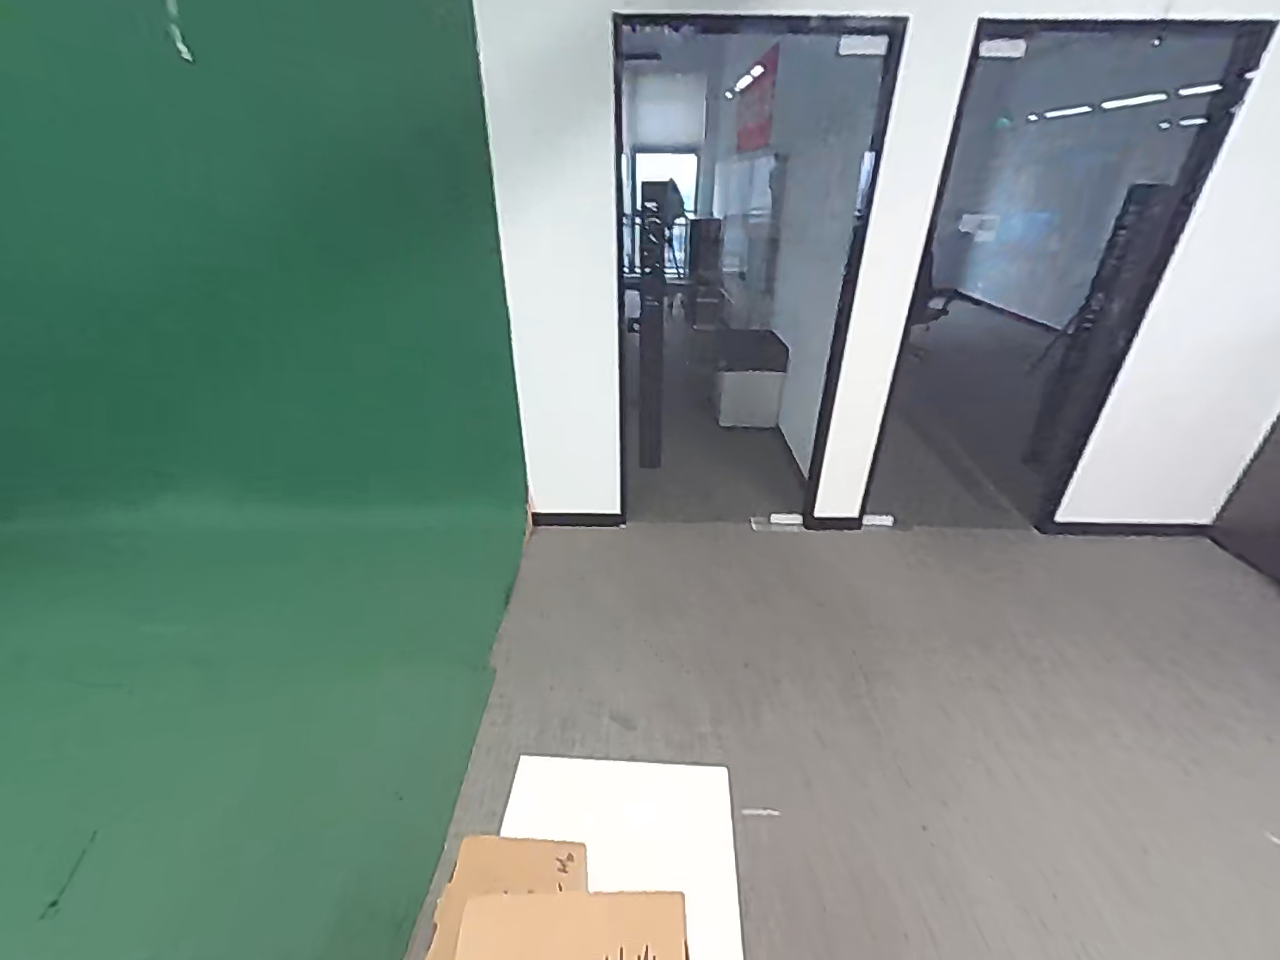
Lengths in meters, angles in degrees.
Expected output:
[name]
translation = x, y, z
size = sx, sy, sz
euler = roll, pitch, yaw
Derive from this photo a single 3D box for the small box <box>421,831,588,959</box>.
[small box]
translation = -0.168, 0.608, 0.726
size = 0.179, 0.176, 0.168
euler = 3, 29, 2
